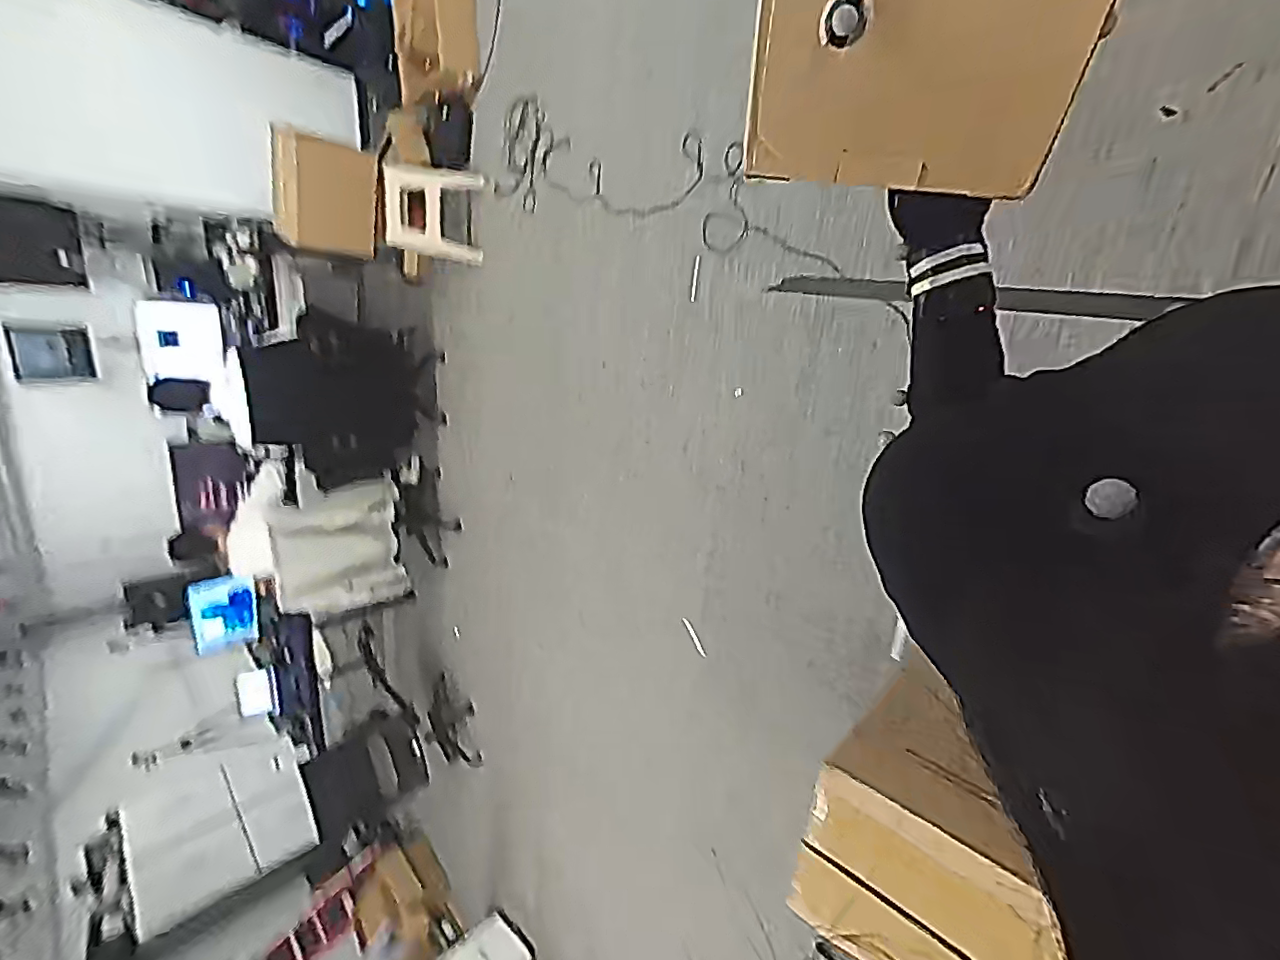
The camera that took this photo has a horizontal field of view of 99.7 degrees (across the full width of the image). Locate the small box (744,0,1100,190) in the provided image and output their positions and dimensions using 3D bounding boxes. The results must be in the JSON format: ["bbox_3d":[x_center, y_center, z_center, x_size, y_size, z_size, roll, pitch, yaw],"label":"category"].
[{"bbox_3d":[0.166,-0.291,0.329,0.168,0.179,0.176,13,133,16],"label":"small box"}]
